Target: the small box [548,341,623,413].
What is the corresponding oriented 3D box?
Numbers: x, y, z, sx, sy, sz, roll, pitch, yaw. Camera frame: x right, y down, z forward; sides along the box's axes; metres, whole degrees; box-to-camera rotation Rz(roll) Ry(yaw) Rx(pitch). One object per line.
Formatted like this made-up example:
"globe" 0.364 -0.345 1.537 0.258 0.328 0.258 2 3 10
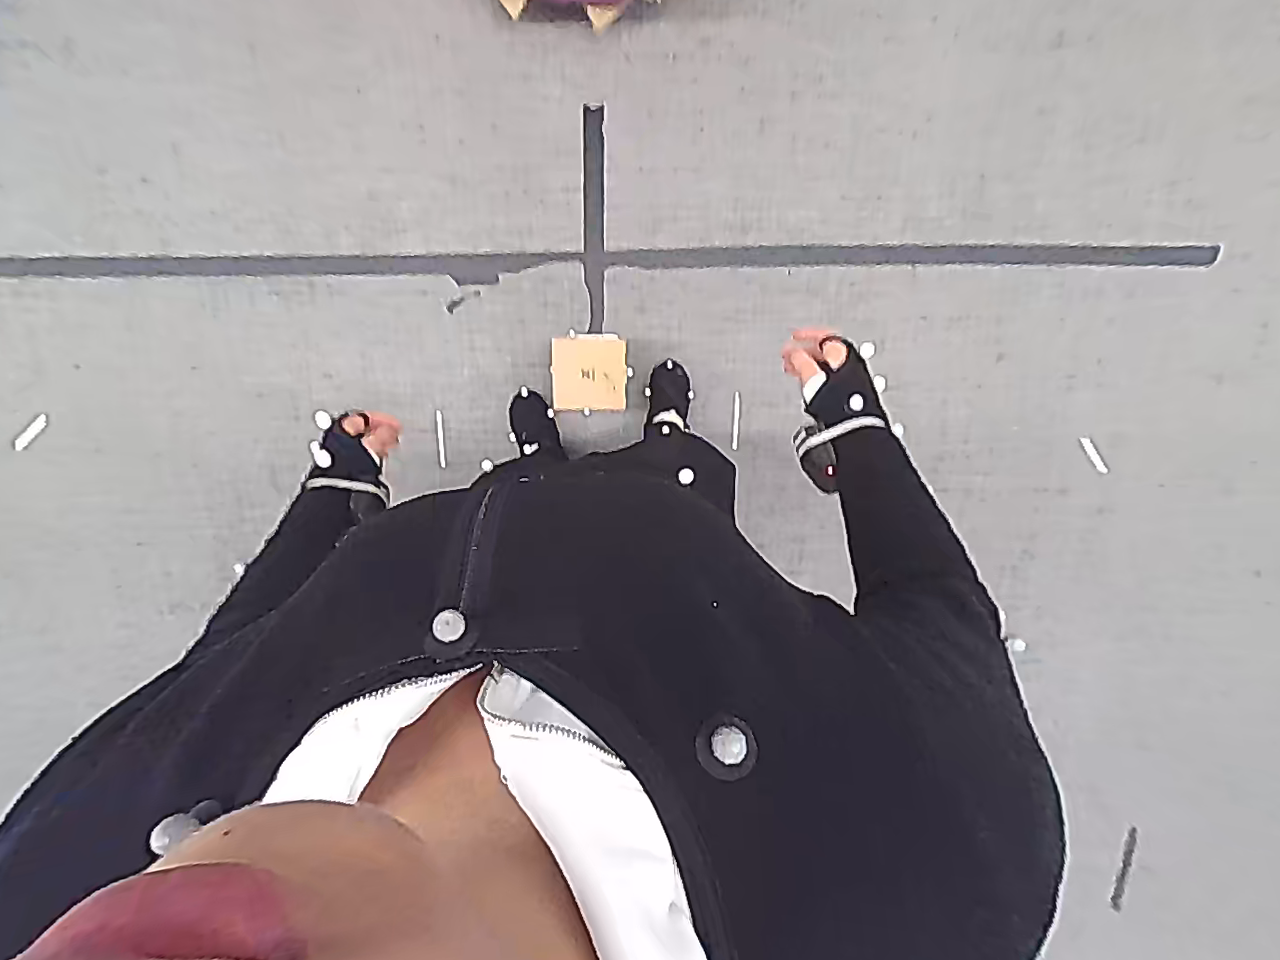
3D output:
"small box" -0.132 -0.261 1.350 0.179 0.176 0.168 0 105 -3
